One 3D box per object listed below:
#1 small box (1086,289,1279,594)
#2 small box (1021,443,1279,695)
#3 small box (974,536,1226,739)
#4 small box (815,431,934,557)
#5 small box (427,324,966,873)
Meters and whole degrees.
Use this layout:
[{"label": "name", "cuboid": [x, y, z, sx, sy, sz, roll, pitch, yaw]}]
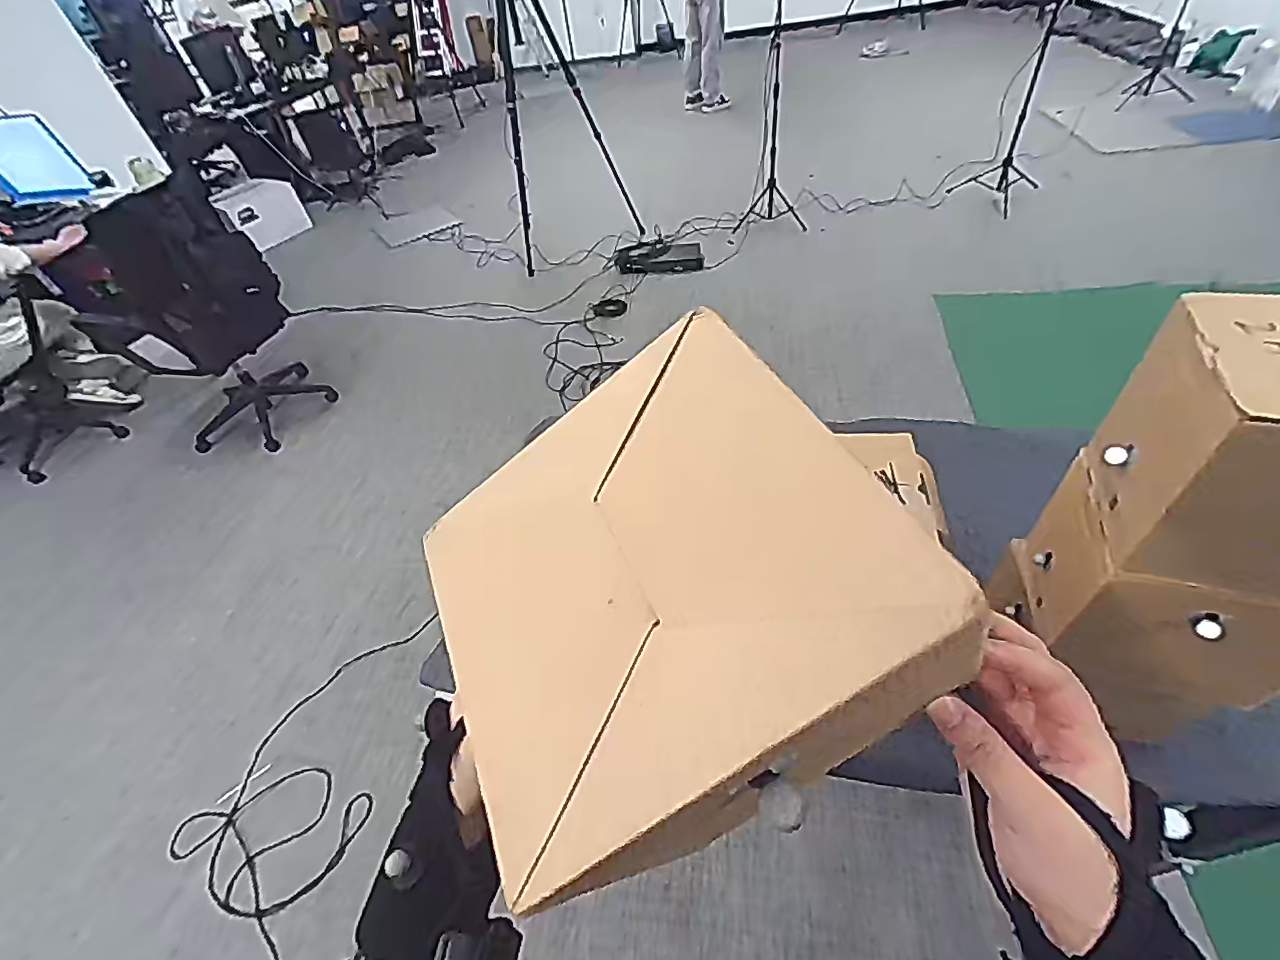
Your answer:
[{"label": "small box", "cuboid": [0.494, -0.026, 0.418, 0.179, 0.176, 0.168, 10, 49, 21]}, {"label": "small box", "cuboid": [0.513, 0.089, 0.535, 0.179, 0.176, 0.168, 9, 49, 20]}, {"label": "small box", "cuboid": [0.537, 0.190, 0.661, 0.168, 0.176, 0.179, 1, 47, 12]}, {"label": "small box", "cuboid": [0.205, 0.061, 0.613, 0.179, 0.176, 0.168, 2, 47, 12]}, {"label": "small box", "cuboid": [0.025, 0.061, 0.268, 0.179, 0.176, 0.168, -38, 54, 10]}]
